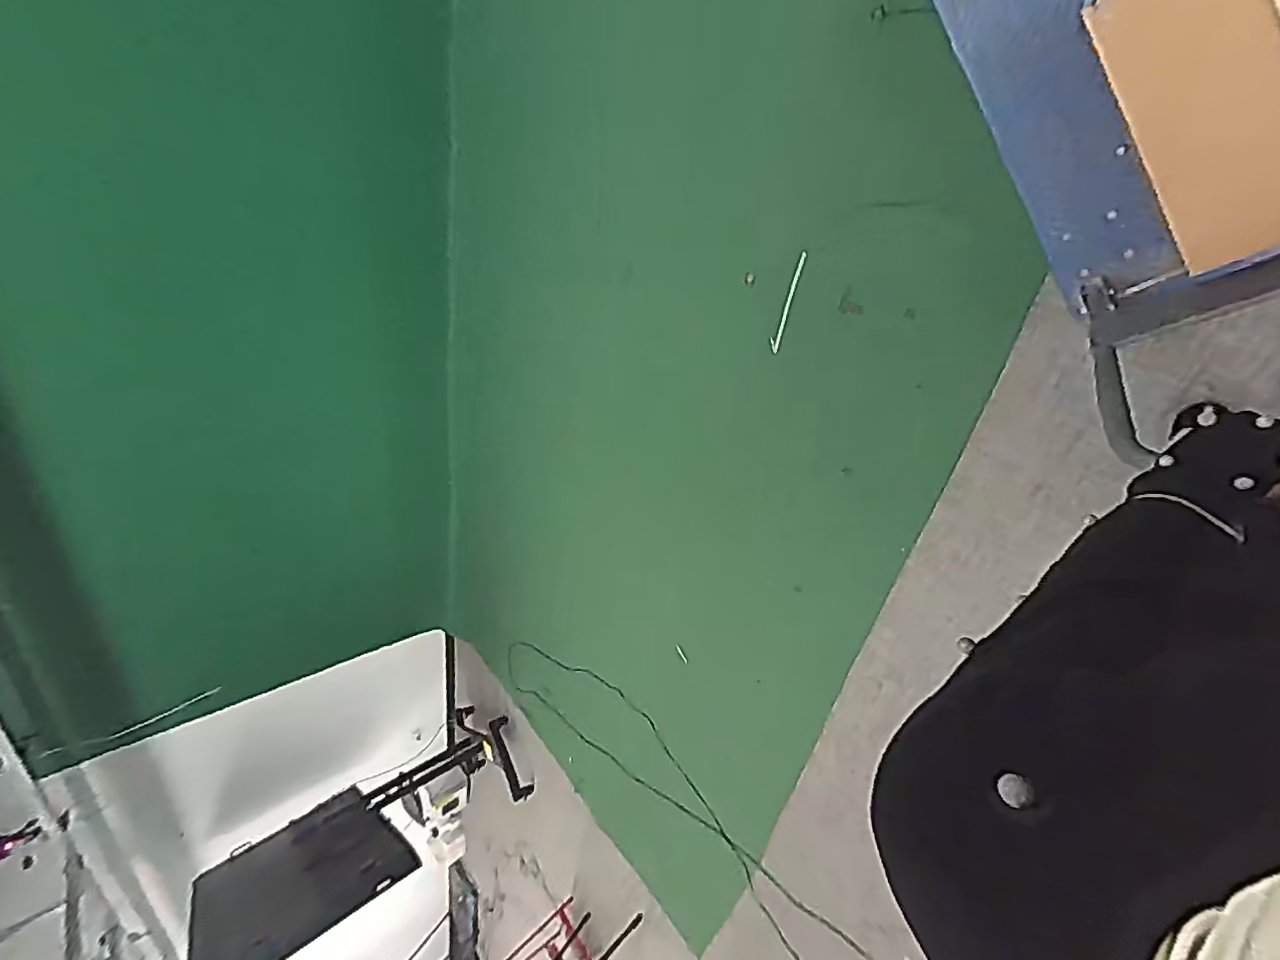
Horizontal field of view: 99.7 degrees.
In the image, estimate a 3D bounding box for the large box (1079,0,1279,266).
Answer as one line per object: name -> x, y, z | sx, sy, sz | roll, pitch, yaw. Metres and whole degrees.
large box -> 0.893, -0.588, 0.765 | 0.320, 0.320, 0.408 | -23, 102, 45
